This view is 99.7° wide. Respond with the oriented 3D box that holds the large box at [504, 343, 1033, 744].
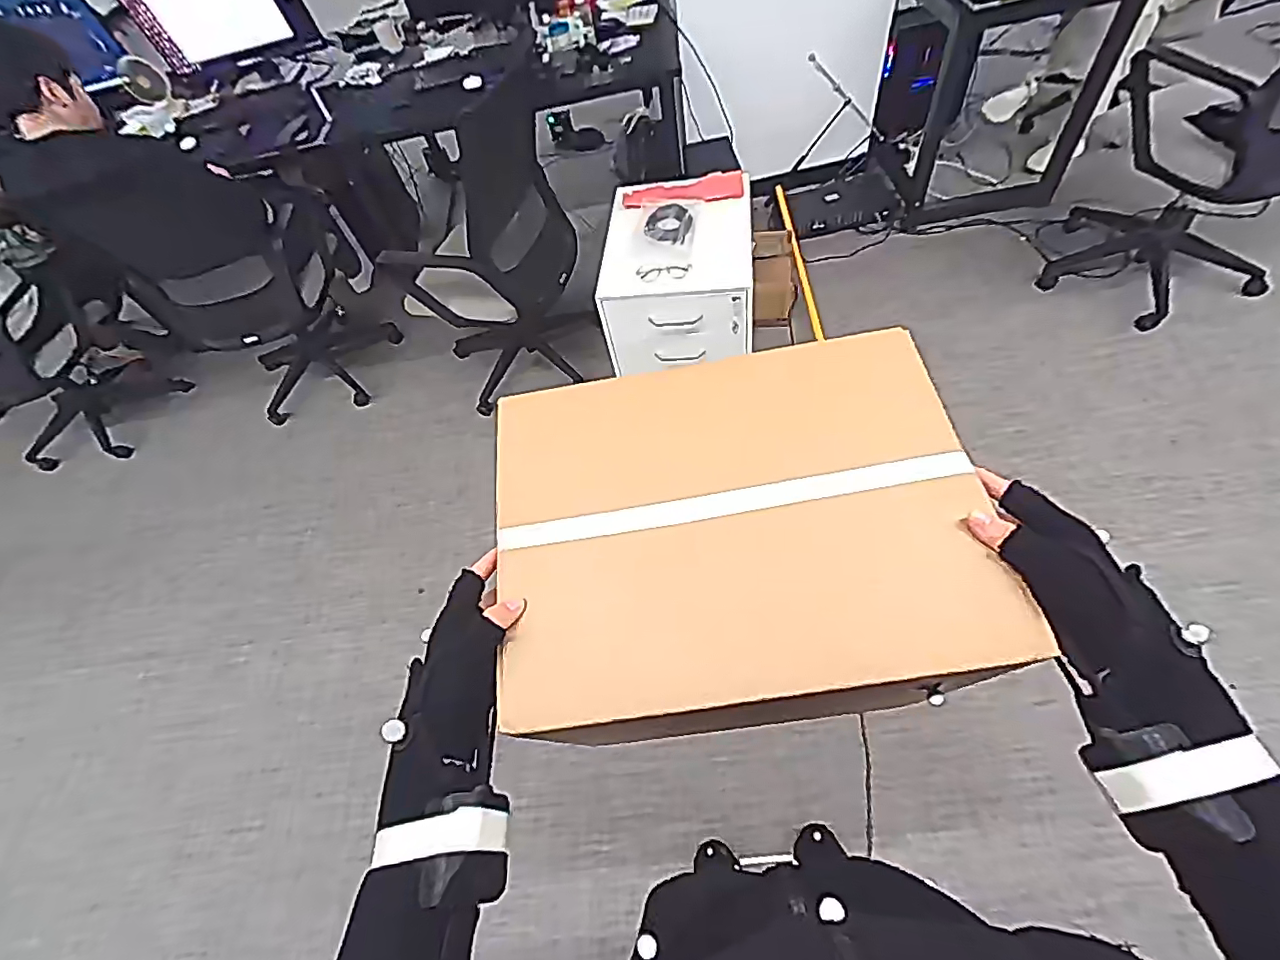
[{"bbox_3d":[0.095,0.097,0.602,0.408,0.320,0.320,-9,61,3],"label":"large box"}]
